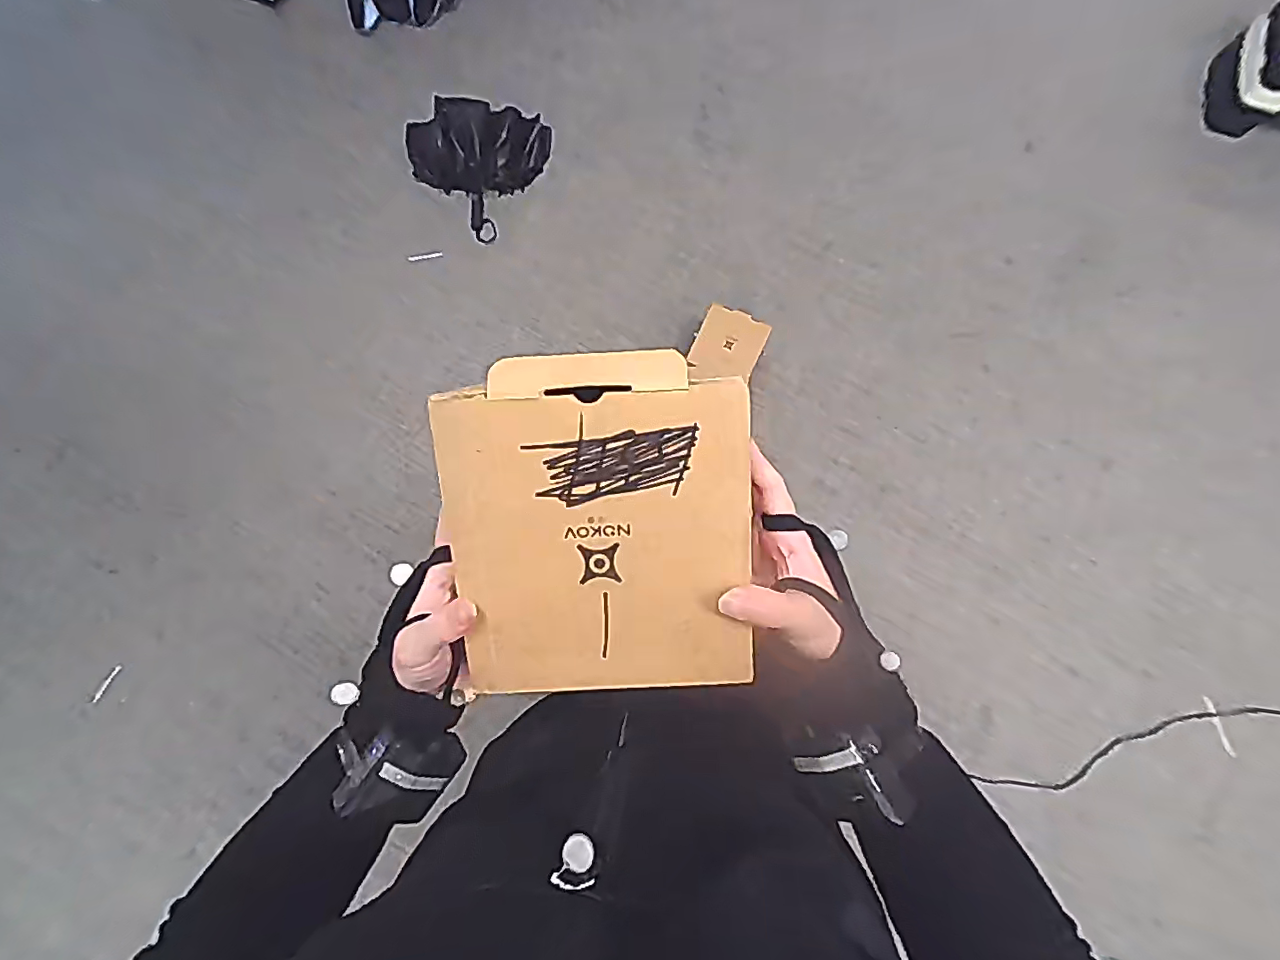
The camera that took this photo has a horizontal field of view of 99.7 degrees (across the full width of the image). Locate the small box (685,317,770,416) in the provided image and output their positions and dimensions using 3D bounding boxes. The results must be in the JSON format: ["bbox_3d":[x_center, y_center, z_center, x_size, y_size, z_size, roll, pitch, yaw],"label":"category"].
[{"bbox_3d":[0.225,-0.296,1.441,0.168,0.176,0.179,24,82,7],"label":"small box"}]
